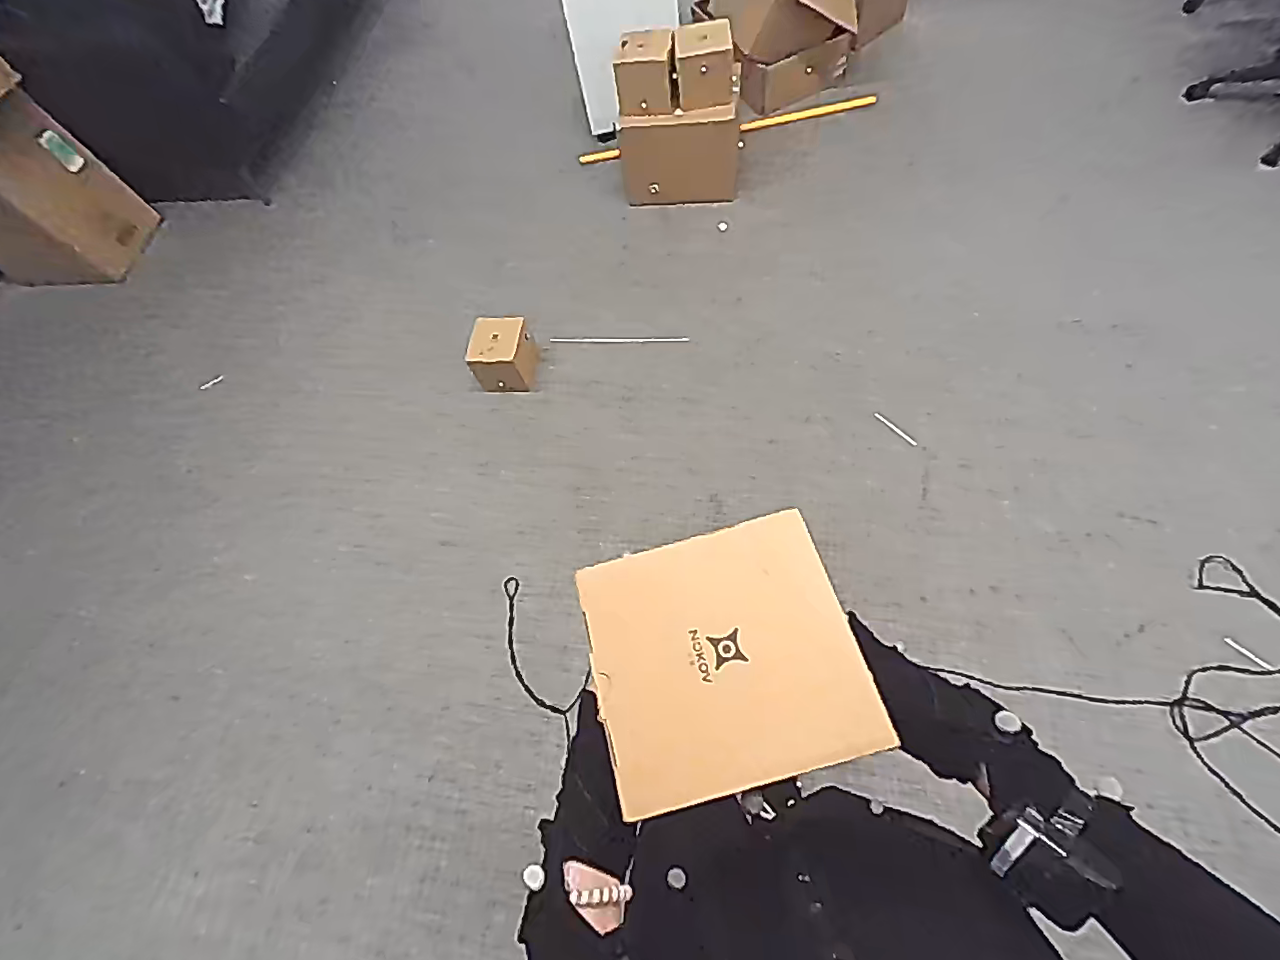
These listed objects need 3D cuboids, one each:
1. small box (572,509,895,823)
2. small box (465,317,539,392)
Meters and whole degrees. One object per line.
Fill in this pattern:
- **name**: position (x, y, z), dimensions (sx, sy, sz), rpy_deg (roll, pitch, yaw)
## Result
- **small box**: position (0.062, 0.145, 0.428), dimensions (0.179, 0.176, 0.168), rpy_deg (-17, 64, 2)
- **small box**: position (-0.444, -0.411, 1.772), dimensions (0.168, 0.176, 0.179), rpy_deg (2, 65, 11)
